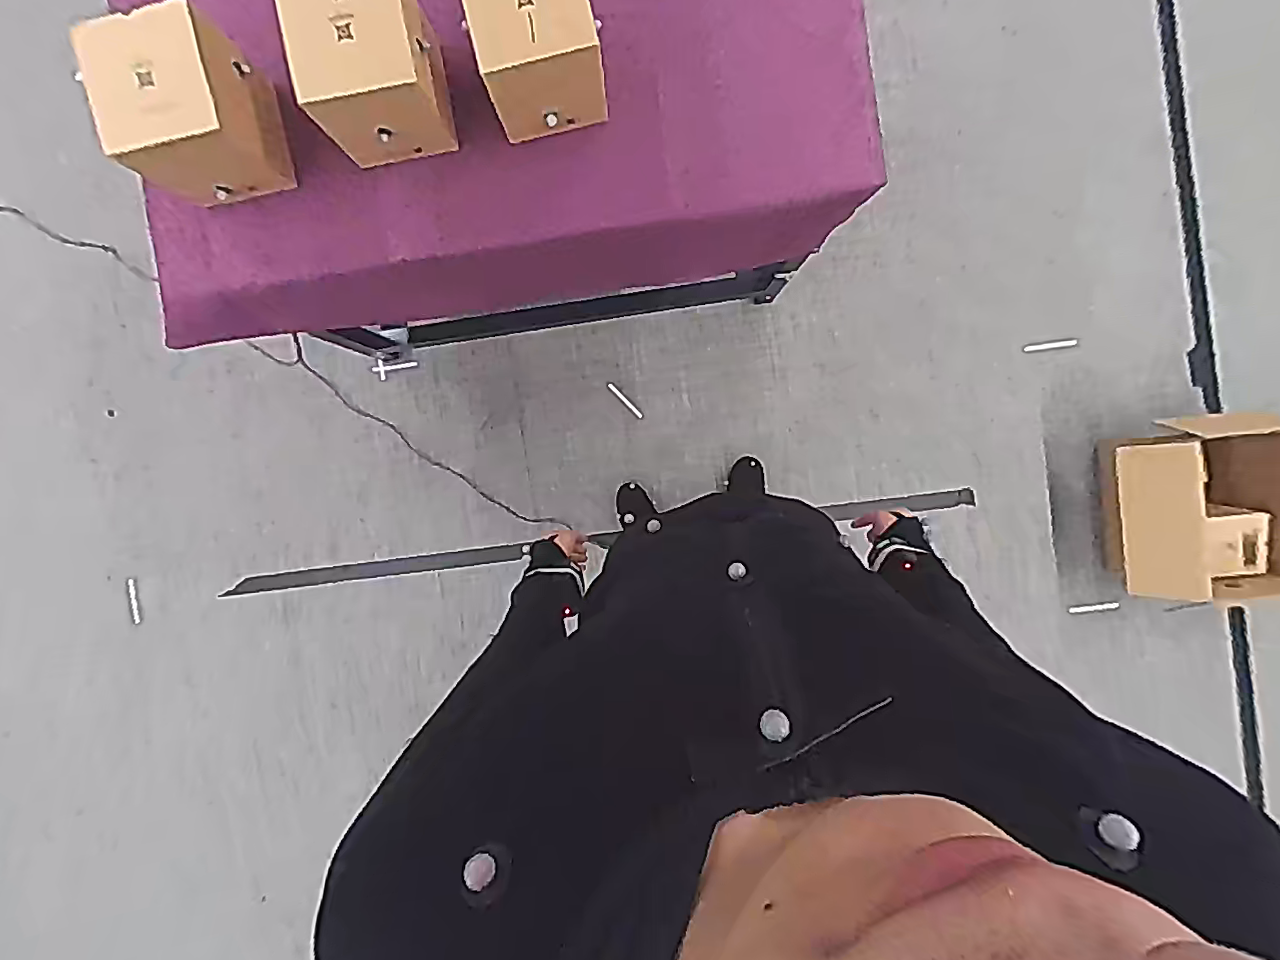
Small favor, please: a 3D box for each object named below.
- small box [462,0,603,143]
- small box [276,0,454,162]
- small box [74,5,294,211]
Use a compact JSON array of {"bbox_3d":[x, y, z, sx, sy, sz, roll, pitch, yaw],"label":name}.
[{"bbox_3d":[-0.156,-0.646,0.798,0.168,0.176,0.179,-14,93,1],"label":"small box"},{"bbox_3d":[-0.394,-0.602,0.801,0.168,0.176,0.179,-10,92,1],"label":"small box"},{"bbox_3d":[-0.661,-0.538,0.805,0.168,0.176,0.179,-12,92,1],"label":"small box"}]
